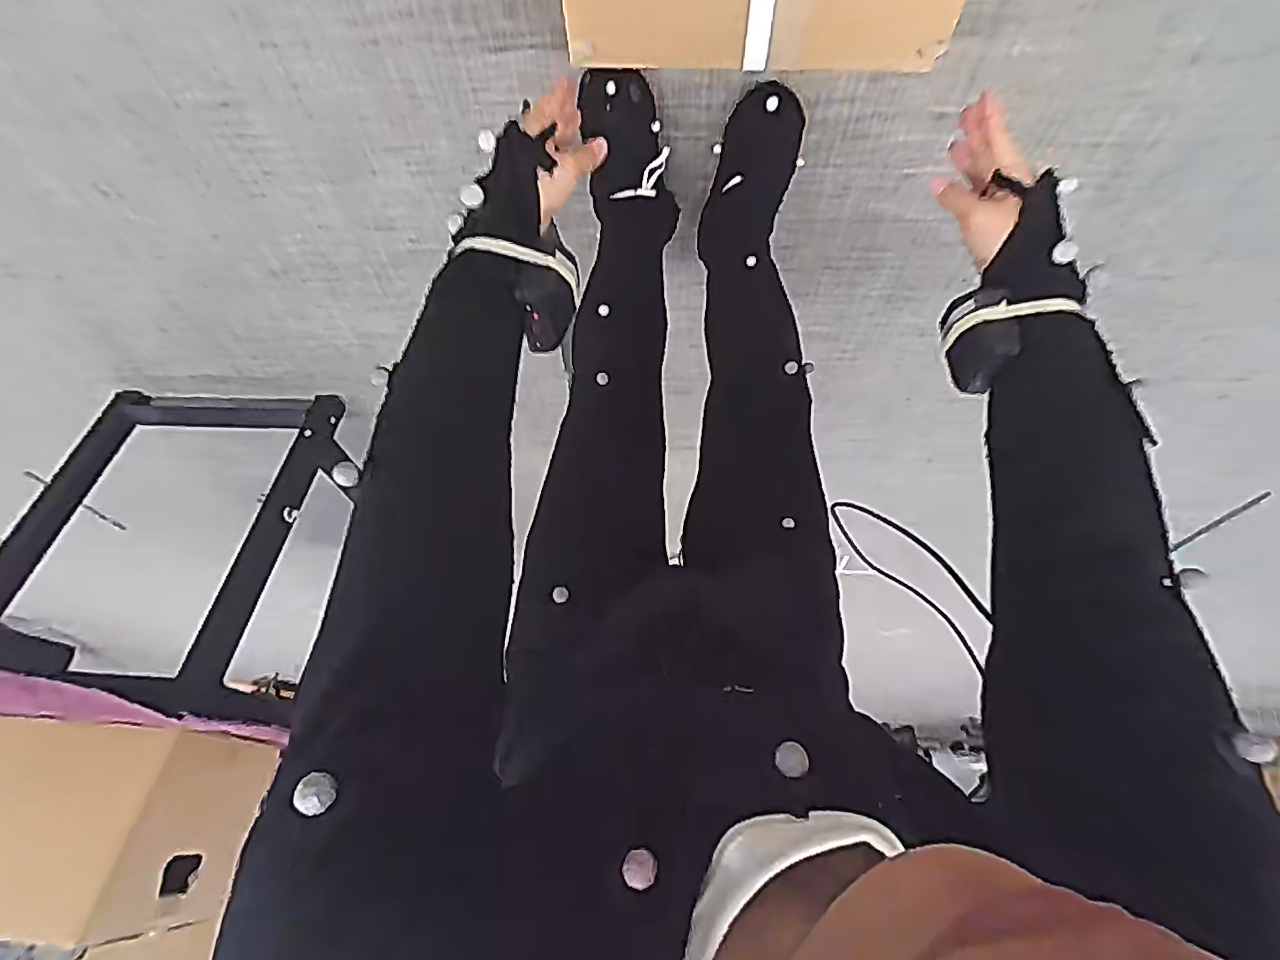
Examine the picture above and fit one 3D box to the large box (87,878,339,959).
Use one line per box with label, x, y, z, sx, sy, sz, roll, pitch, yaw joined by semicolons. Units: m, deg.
large box;-1.041;1.185;1.308;0.408;0.320;0.320;2;151;2
